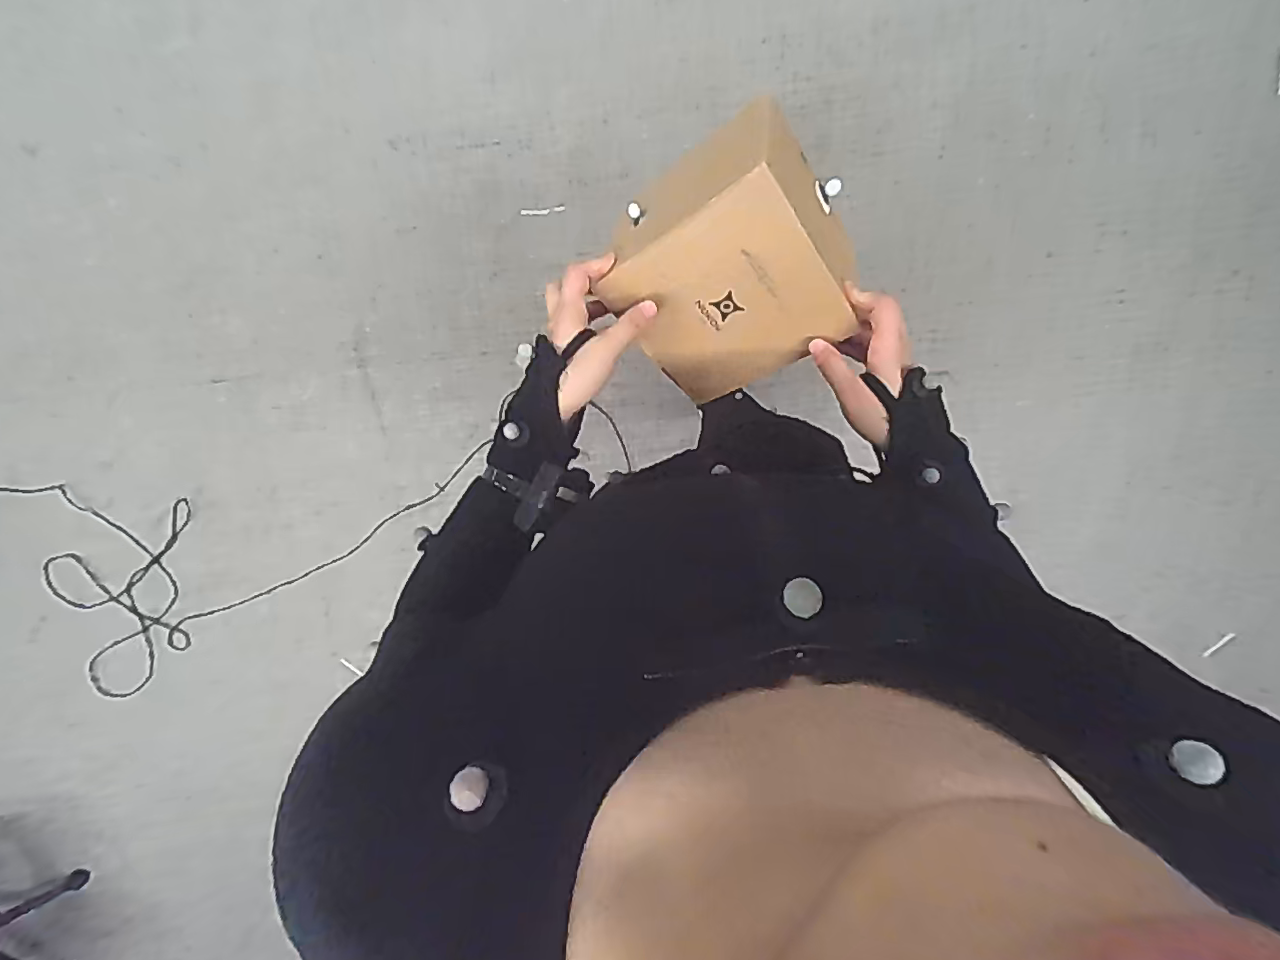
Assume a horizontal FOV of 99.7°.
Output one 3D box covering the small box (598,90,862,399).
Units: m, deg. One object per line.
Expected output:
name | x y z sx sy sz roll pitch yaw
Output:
small box | 0.090 -0.216 0.516 0.179 0.176 0.168 -23 132 36
